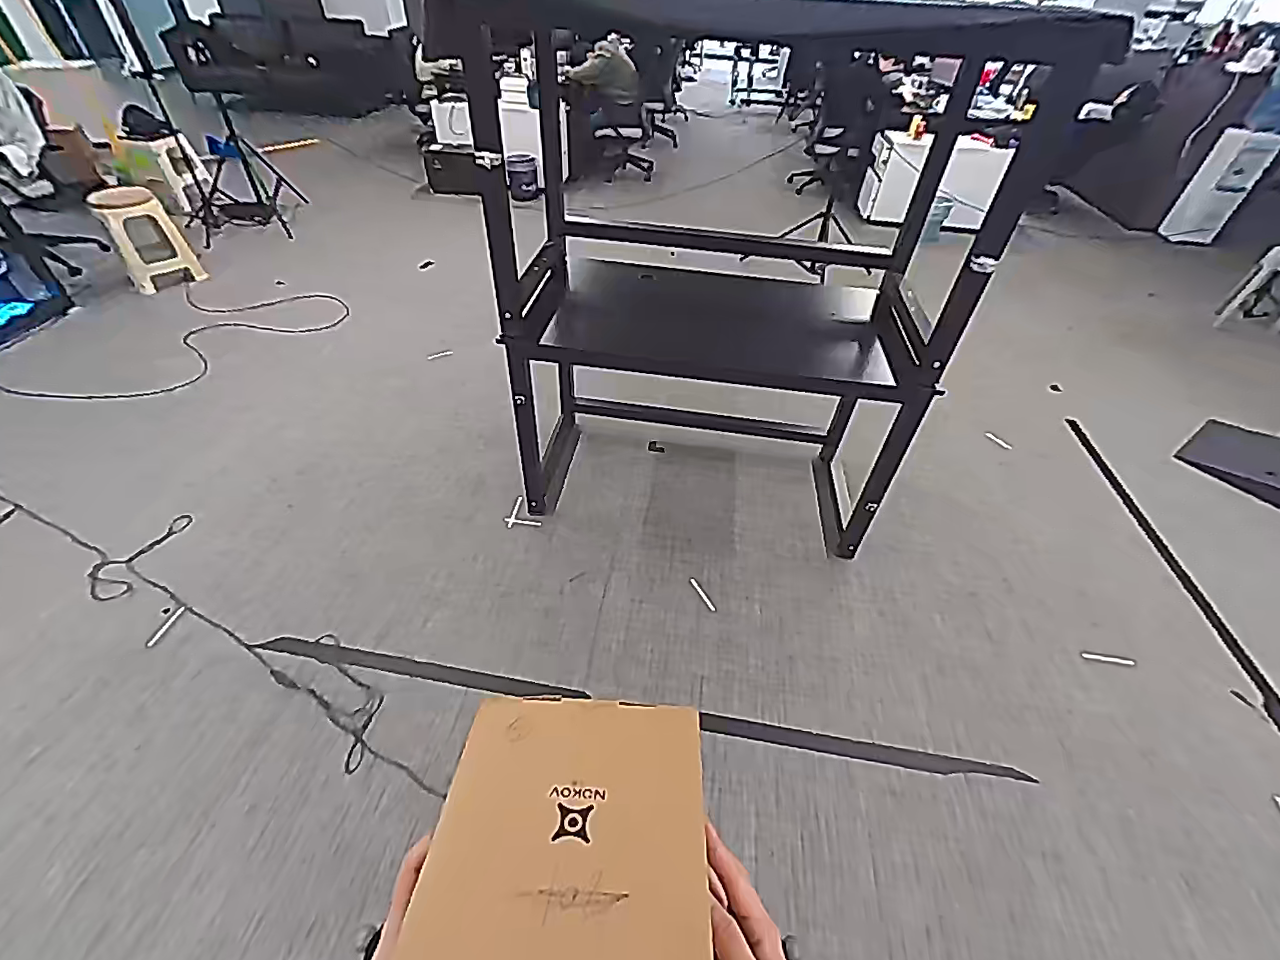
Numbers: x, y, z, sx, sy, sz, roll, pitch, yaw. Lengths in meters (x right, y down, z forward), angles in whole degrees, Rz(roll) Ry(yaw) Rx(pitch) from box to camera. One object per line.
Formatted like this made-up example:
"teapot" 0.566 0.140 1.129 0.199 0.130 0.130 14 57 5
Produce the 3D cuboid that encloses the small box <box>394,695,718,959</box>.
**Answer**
"small box" -0.042 0.279 0.373 0.168 0.176 0.179 2 29 1
